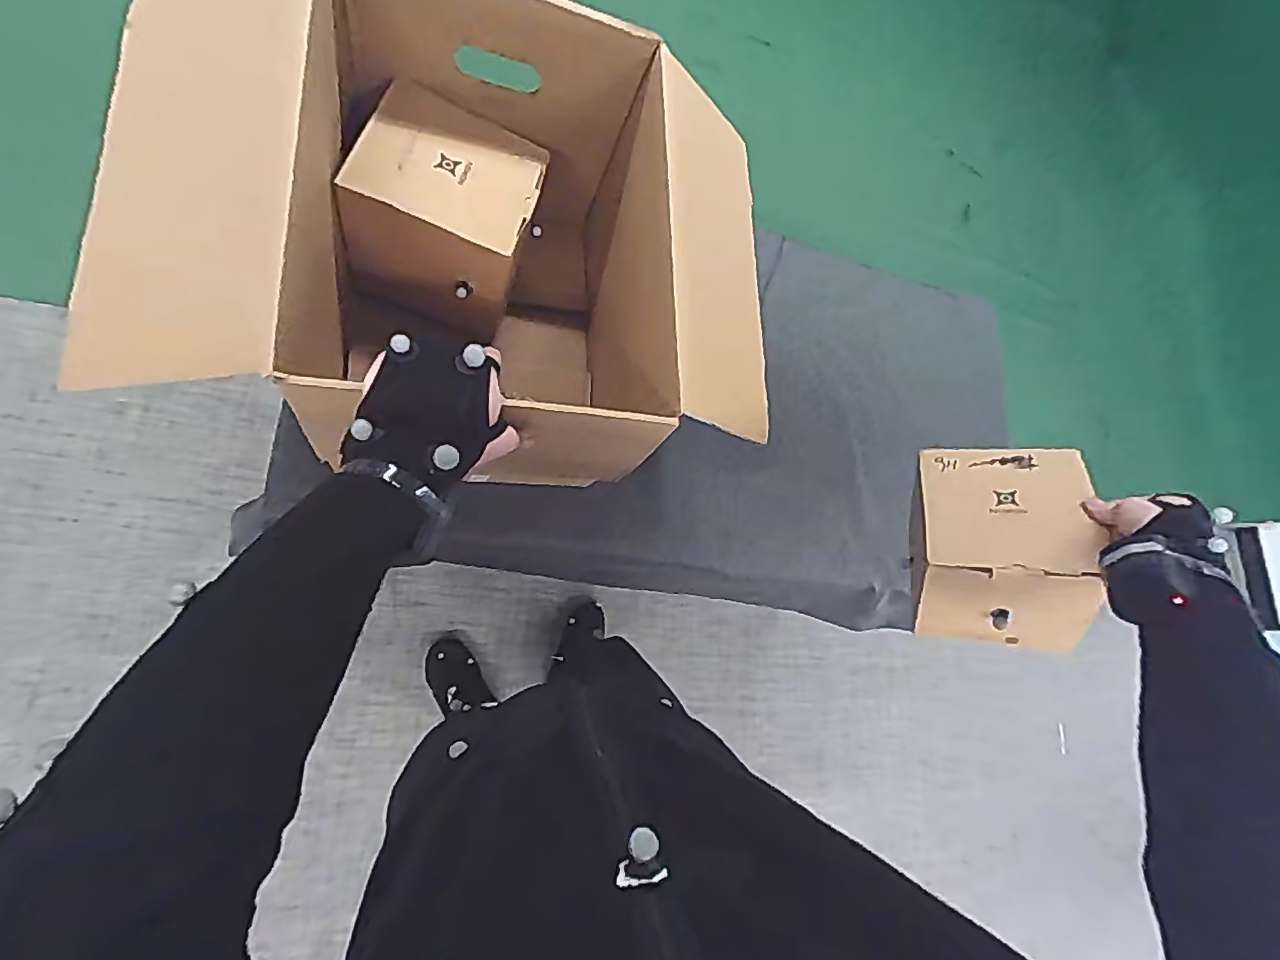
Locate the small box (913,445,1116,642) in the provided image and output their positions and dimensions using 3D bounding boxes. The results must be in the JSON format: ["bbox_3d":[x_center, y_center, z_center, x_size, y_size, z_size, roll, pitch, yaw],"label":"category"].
[{"bbox_3d":[0.432,0.076,0.657,0.168,0.176,0.179,2,50,23],"label":"small box"}]
